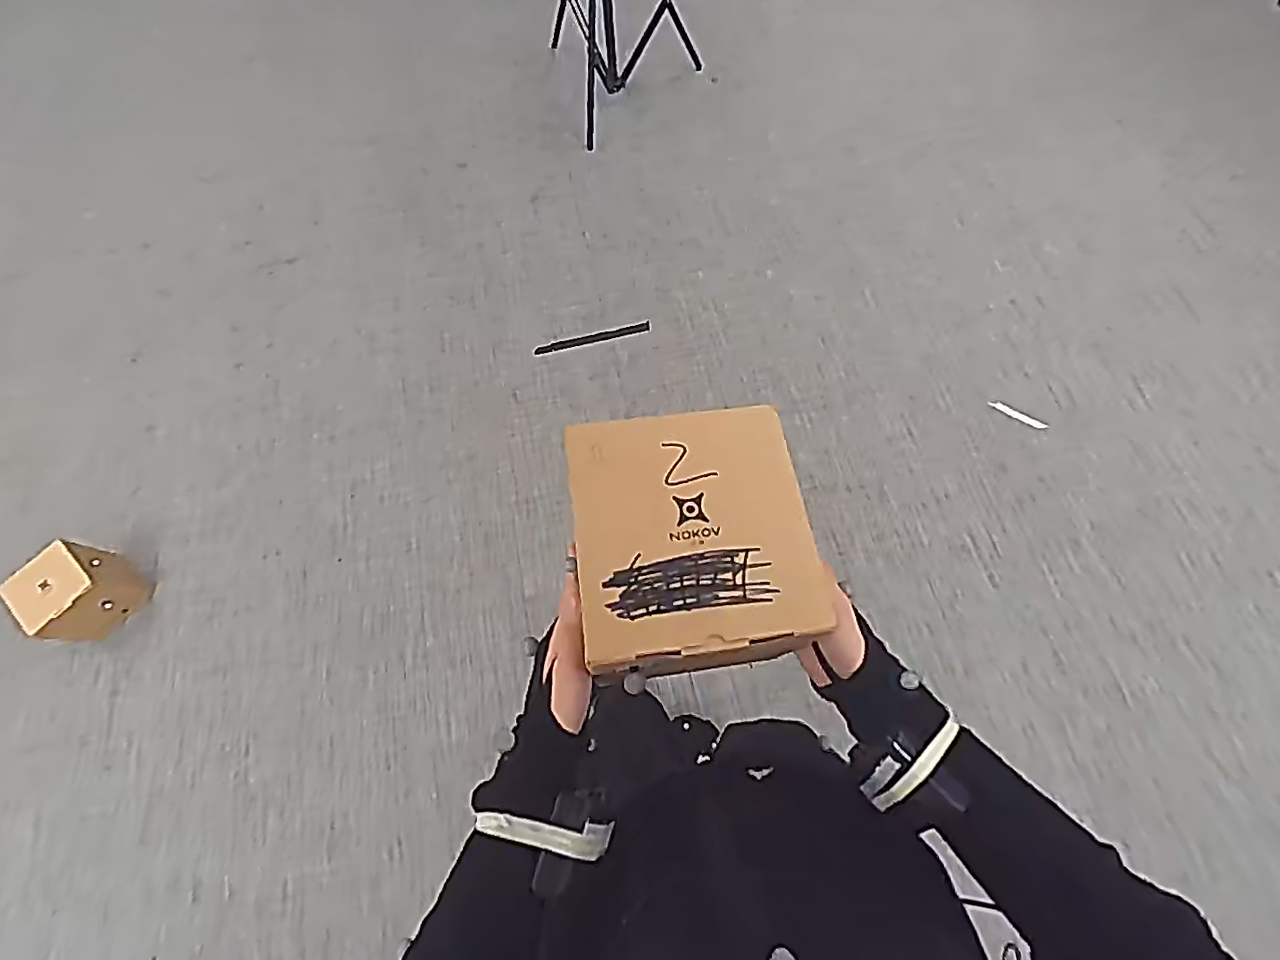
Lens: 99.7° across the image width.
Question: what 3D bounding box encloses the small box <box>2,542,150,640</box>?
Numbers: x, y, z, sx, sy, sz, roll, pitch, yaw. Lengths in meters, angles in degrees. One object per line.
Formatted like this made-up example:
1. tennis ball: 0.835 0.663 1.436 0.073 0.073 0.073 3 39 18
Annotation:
1. small box: -1.420 0.290 1.375 0.179 0.176 0.168 37 74 16
